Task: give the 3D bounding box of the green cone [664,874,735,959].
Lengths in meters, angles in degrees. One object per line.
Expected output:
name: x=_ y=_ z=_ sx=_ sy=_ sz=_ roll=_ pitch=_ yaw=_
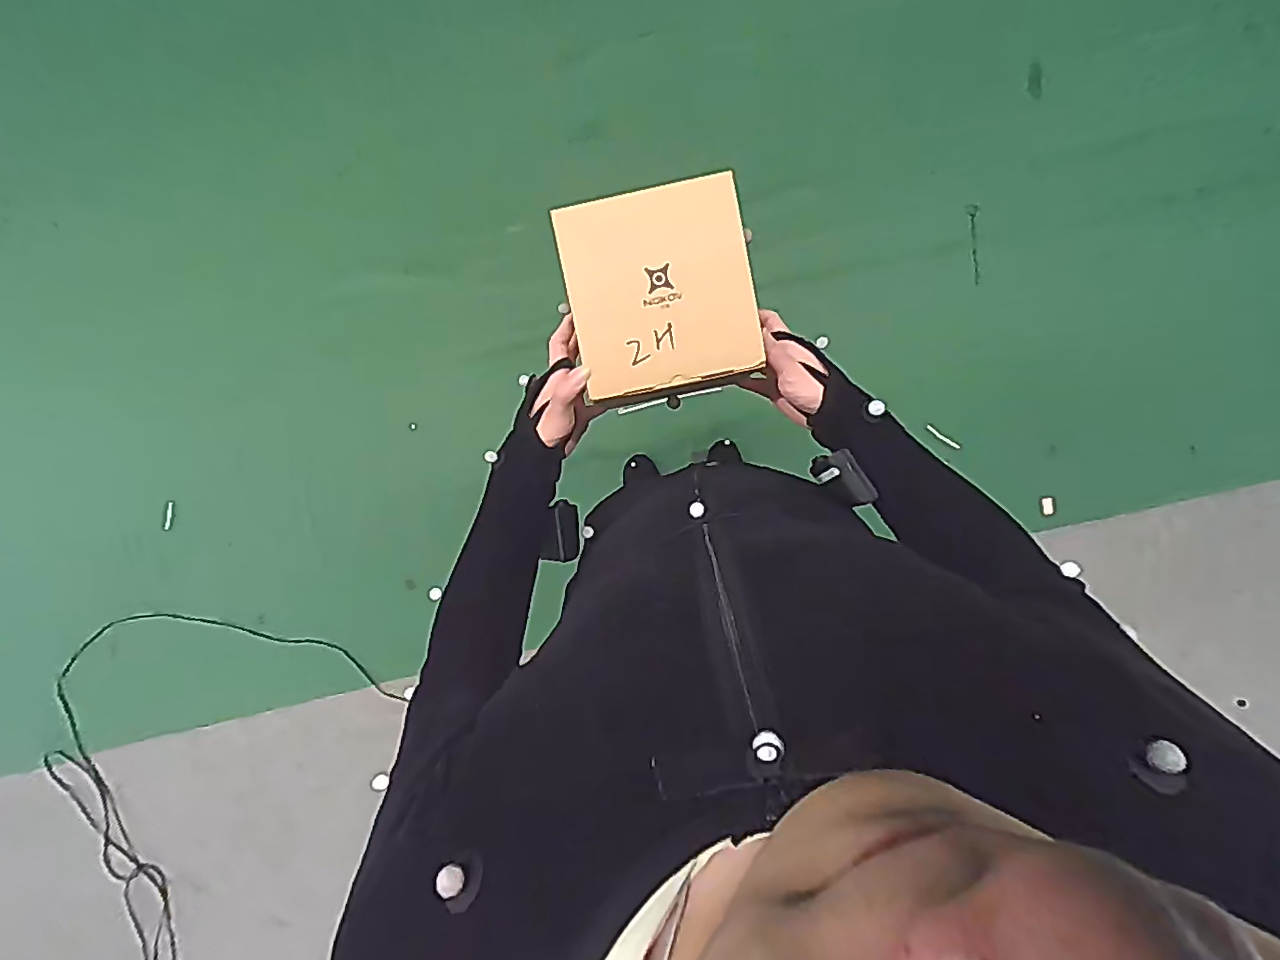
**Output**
green cone: x=0.181 y=1.365 z=1.545 sx=0.202 sy=0.368 sz=0.200 roll=-12 pitch=93 yaw=3
